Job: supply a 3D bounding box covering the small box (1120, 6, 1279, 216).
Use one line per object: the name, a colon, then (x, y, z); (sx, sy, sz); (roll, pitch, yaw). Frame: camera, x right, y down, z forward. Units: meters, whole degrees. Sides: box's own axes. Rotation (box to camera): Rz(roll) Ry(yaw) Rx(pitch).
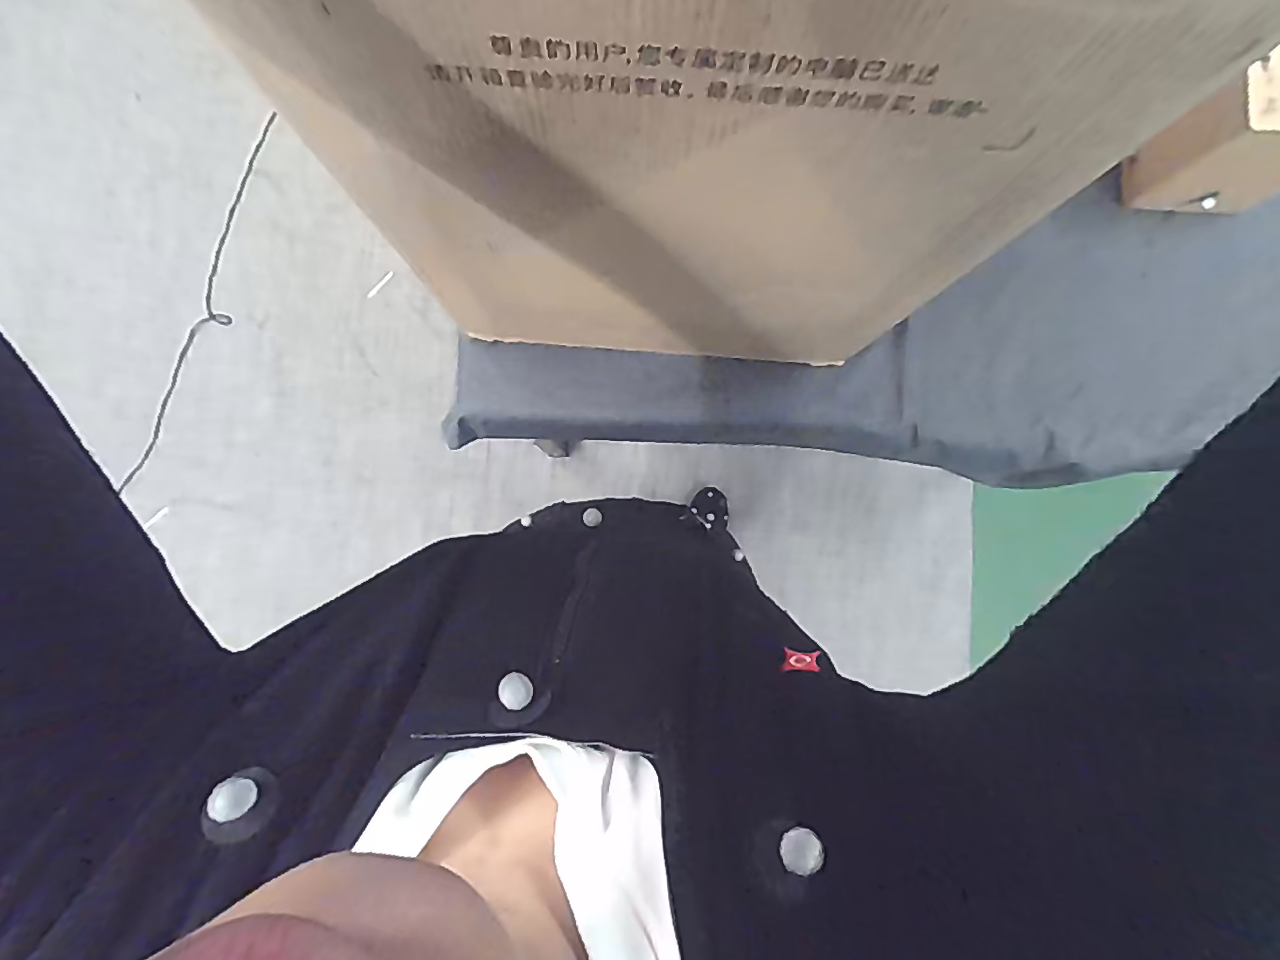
small box: (0.807, -0.479, 0.728); (0.179, 0.176, 0.168); (3, 86, -1)
